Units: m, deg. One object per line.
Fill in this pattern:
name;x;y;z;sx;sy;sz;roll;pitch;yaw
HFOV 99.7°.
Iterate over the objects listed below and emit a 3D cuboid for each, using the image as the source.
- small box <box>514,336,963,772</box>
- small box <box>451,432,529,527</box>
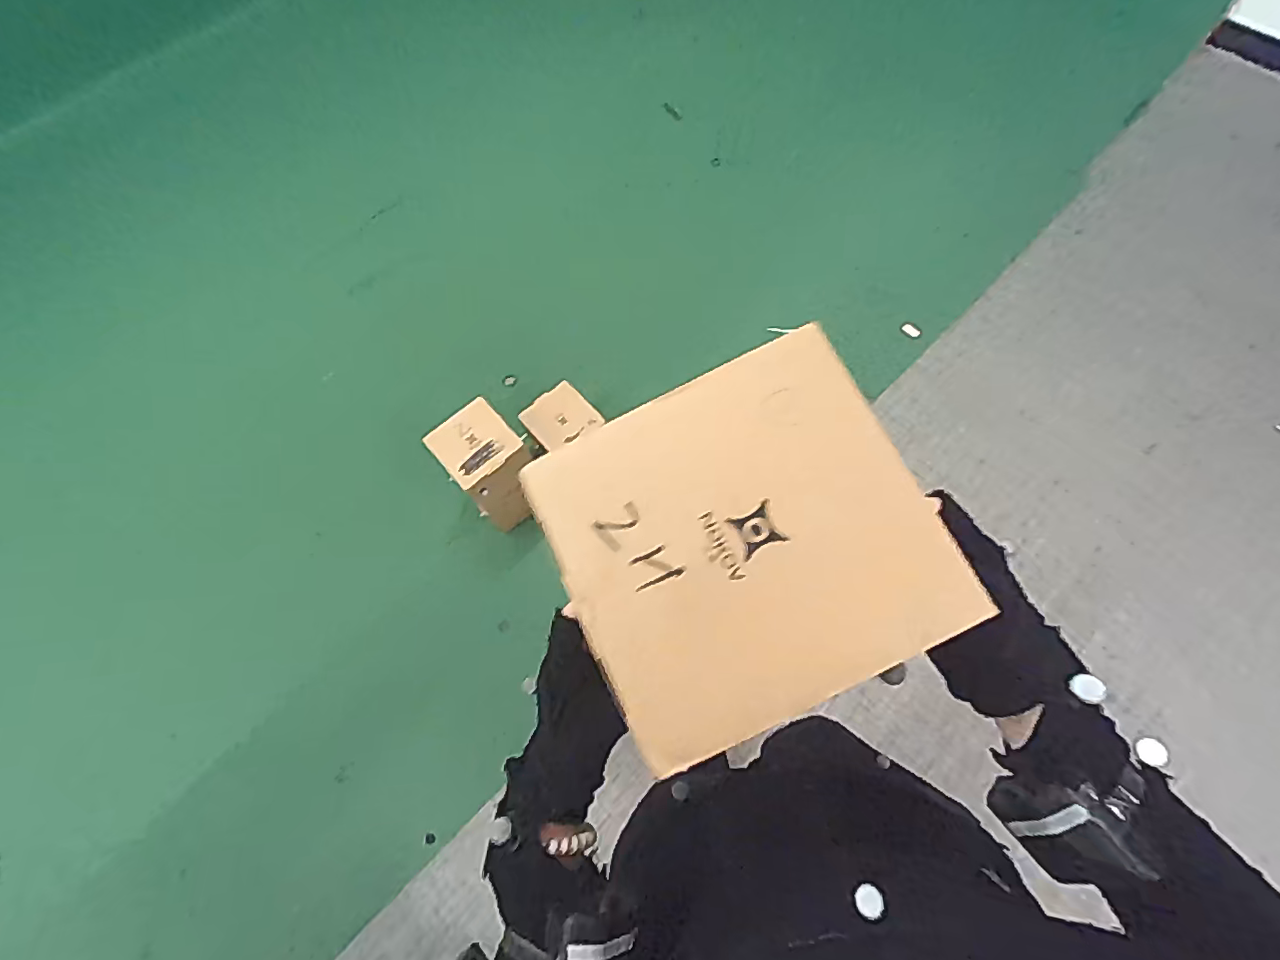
small box;0.051;0.045;0.349;0.179;0.176;0.168;-27;77;2
small box;-0.365;0.009;1.445;0.168;0.176;0.179;-39;72;-11
